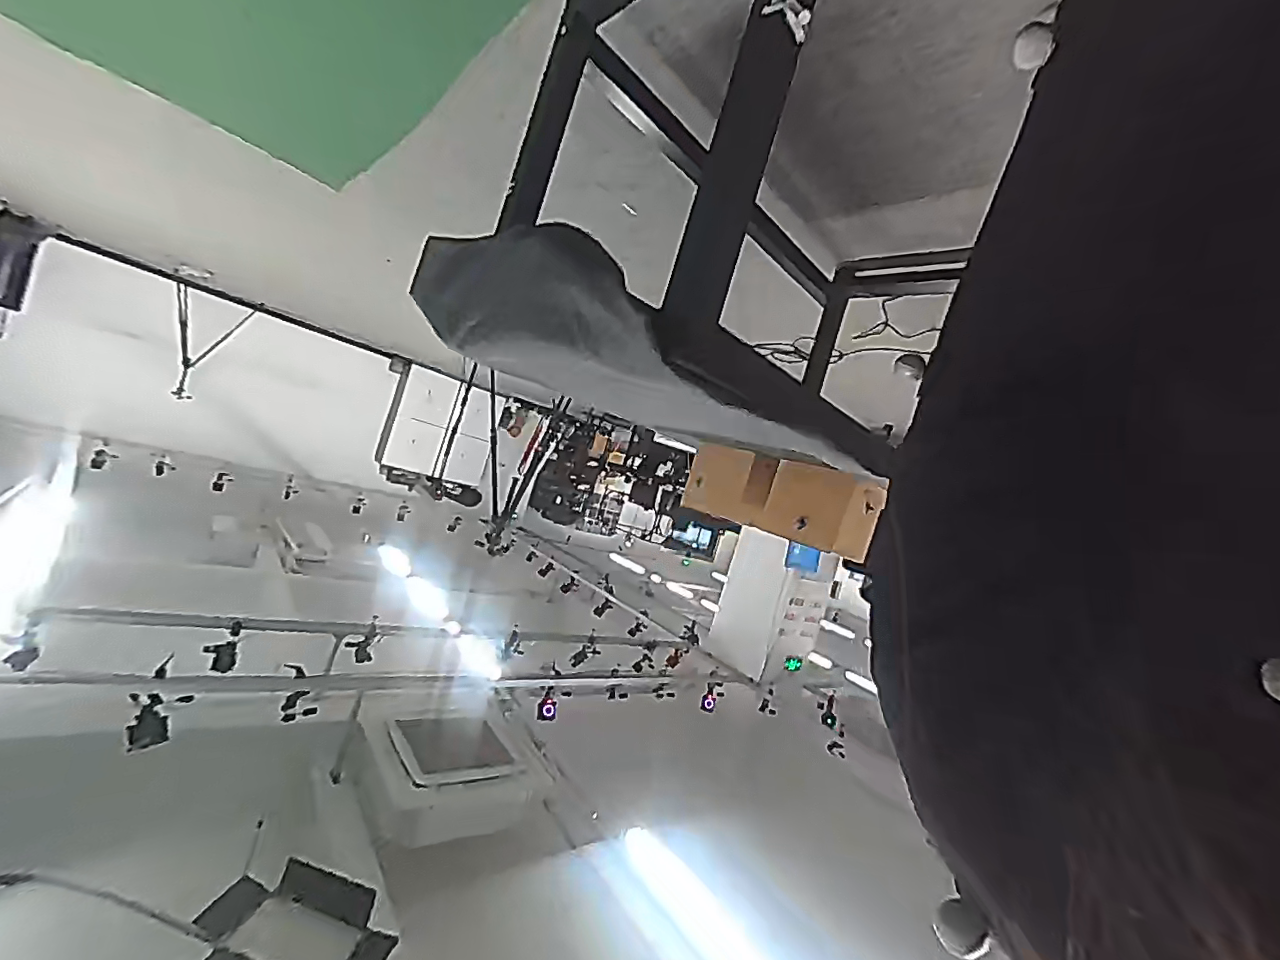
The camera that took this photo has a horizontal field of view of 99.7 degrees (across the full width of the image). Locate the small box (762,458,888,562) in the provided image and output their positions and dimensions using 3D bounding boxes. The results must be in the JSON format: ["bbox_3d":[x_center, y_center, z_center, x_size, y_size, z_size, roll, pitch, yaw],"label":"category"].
[{"bbox_3d":[0.397,0.060,1.157,0.168,0.176,0.179,18,180,-44],"label":"small box"}]

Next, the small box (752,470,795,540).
[{"bbox_3d":[0.439,0.078,1.476,0.168,0.176,0.179,19,180,-43],"label":"small box"}]
